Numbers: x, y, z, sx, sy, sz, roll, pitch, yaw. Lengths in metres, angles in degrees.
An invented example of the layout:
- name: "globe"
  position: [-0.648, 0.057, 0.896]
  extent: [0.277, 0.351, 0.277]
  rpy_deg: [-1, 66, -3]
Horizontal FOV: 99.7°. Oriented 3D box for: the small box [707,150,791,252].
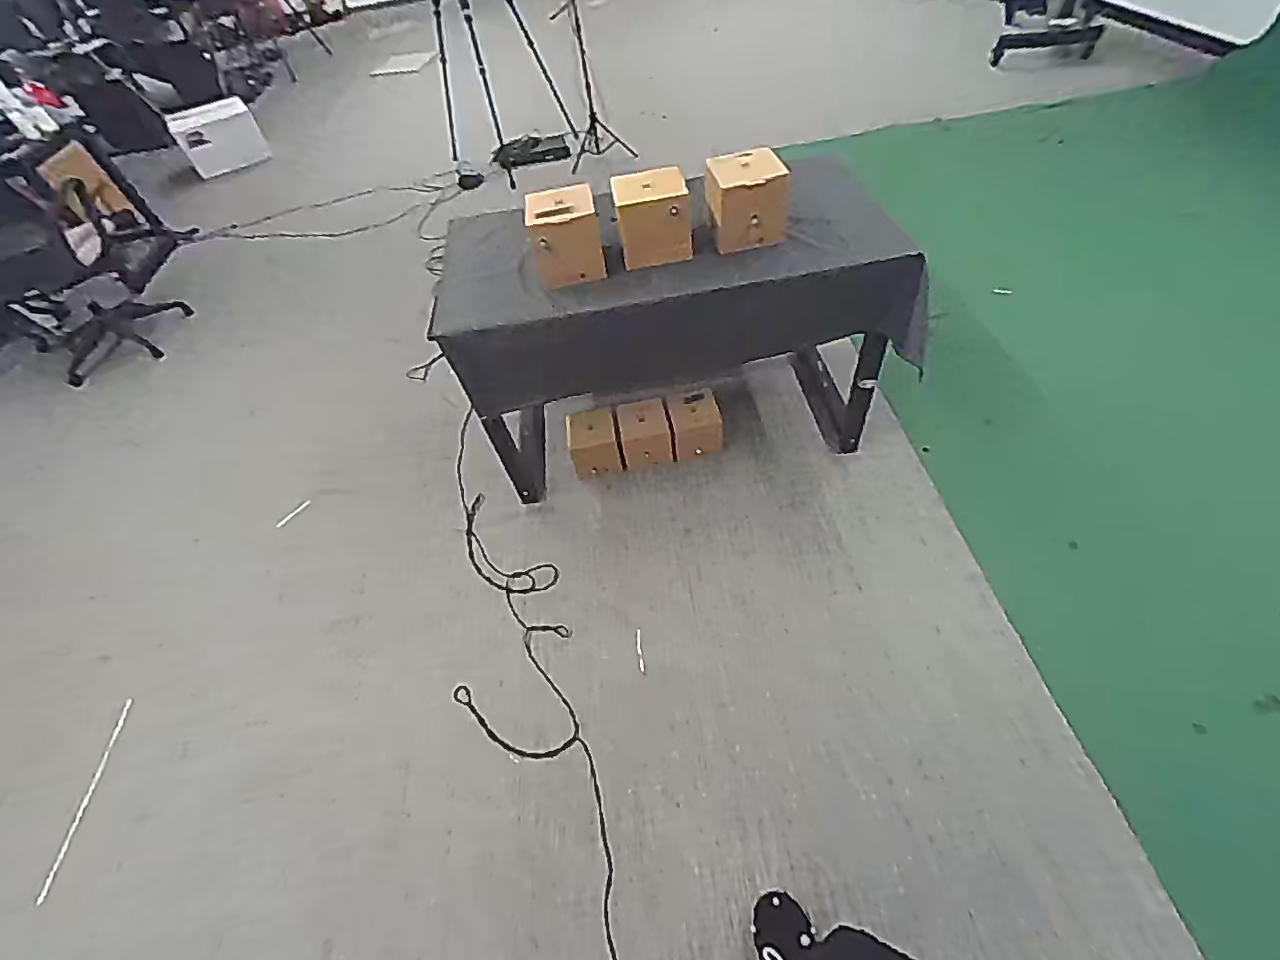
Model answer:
- name: "small box"
  position: [0.271, -0.697, 1.368]
  extent: [0.168, 0.176, 0.179]
  rpy_deg: [-10, 51, 0]
